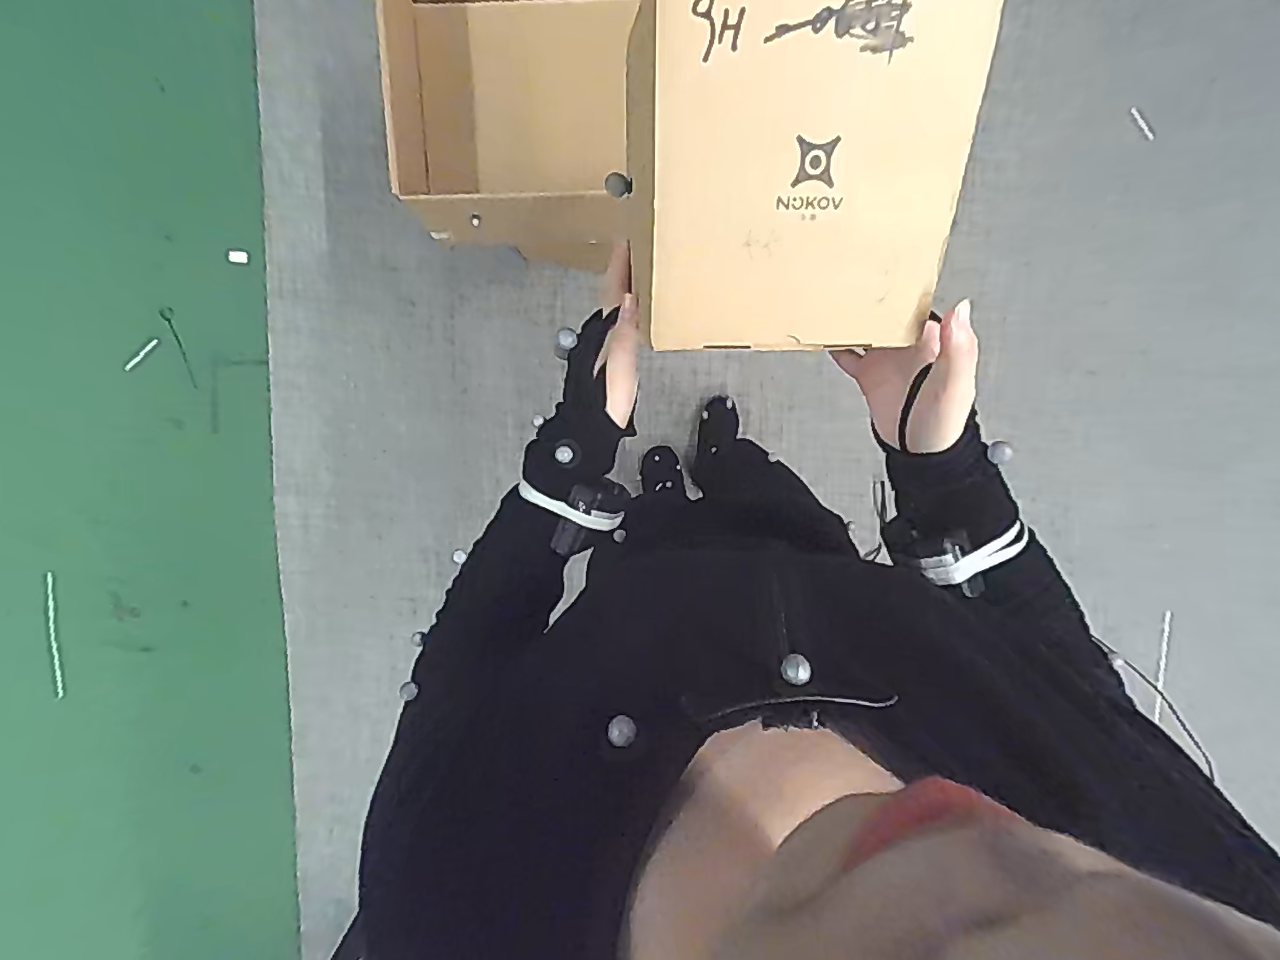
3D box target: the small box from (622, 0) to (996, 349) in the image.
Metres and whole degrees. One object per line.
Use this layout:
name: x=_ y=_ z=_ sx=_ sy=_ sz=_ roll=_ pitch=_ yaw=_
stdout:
small box: x=0.078 y=-0.196 z=0.357 sx=0.168 sy=0.176 sz=0.179 roll=-3 pitch=119 yaw=-6
